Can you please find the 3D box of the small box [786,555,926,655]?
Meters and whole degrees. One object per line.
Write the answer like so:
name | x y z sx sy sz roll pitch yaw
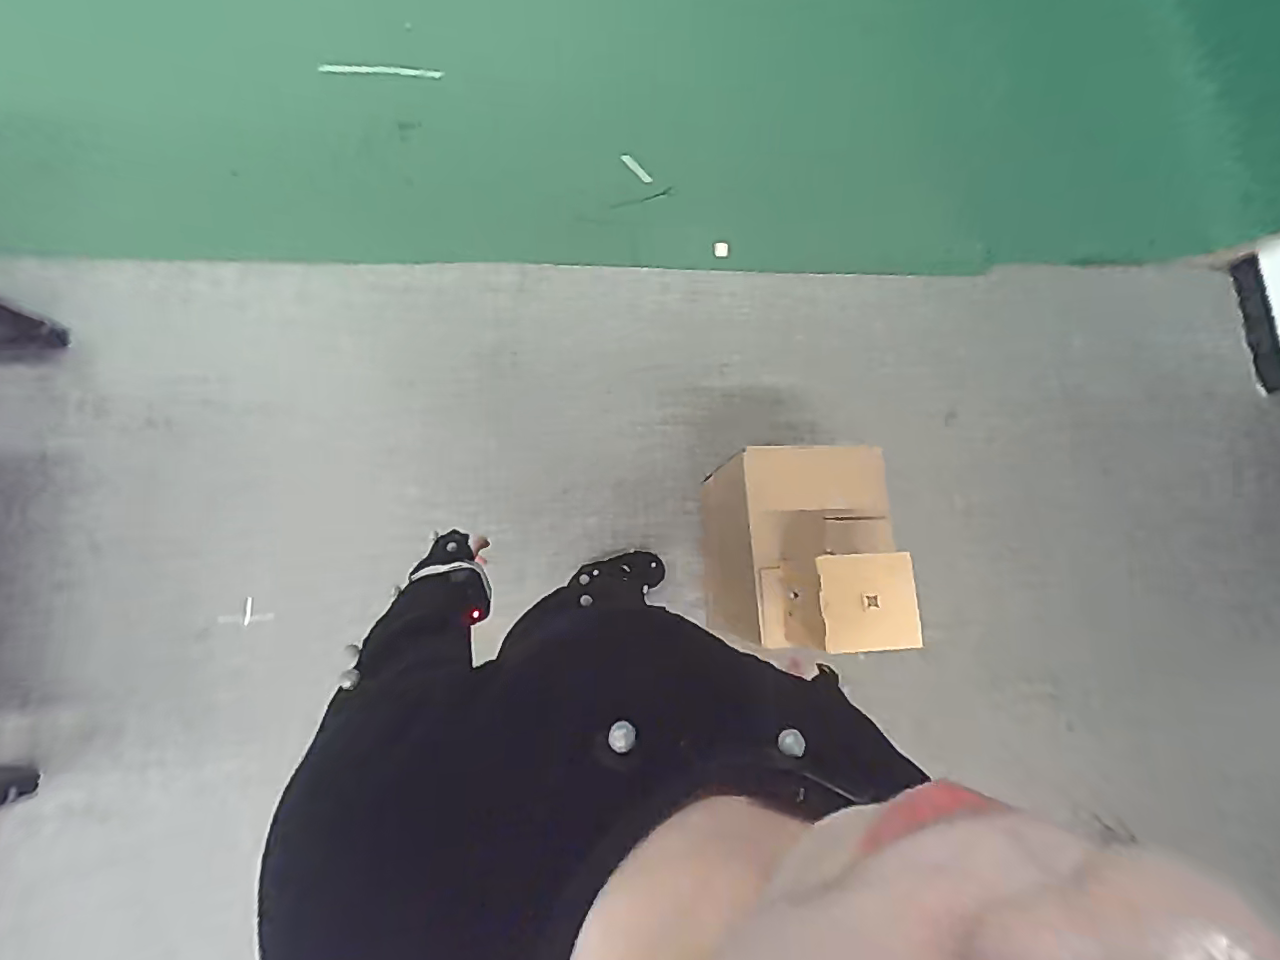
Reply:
small box | 0.389 0.225 1.000 0.179 0.176 0.168 -2 79 -6
